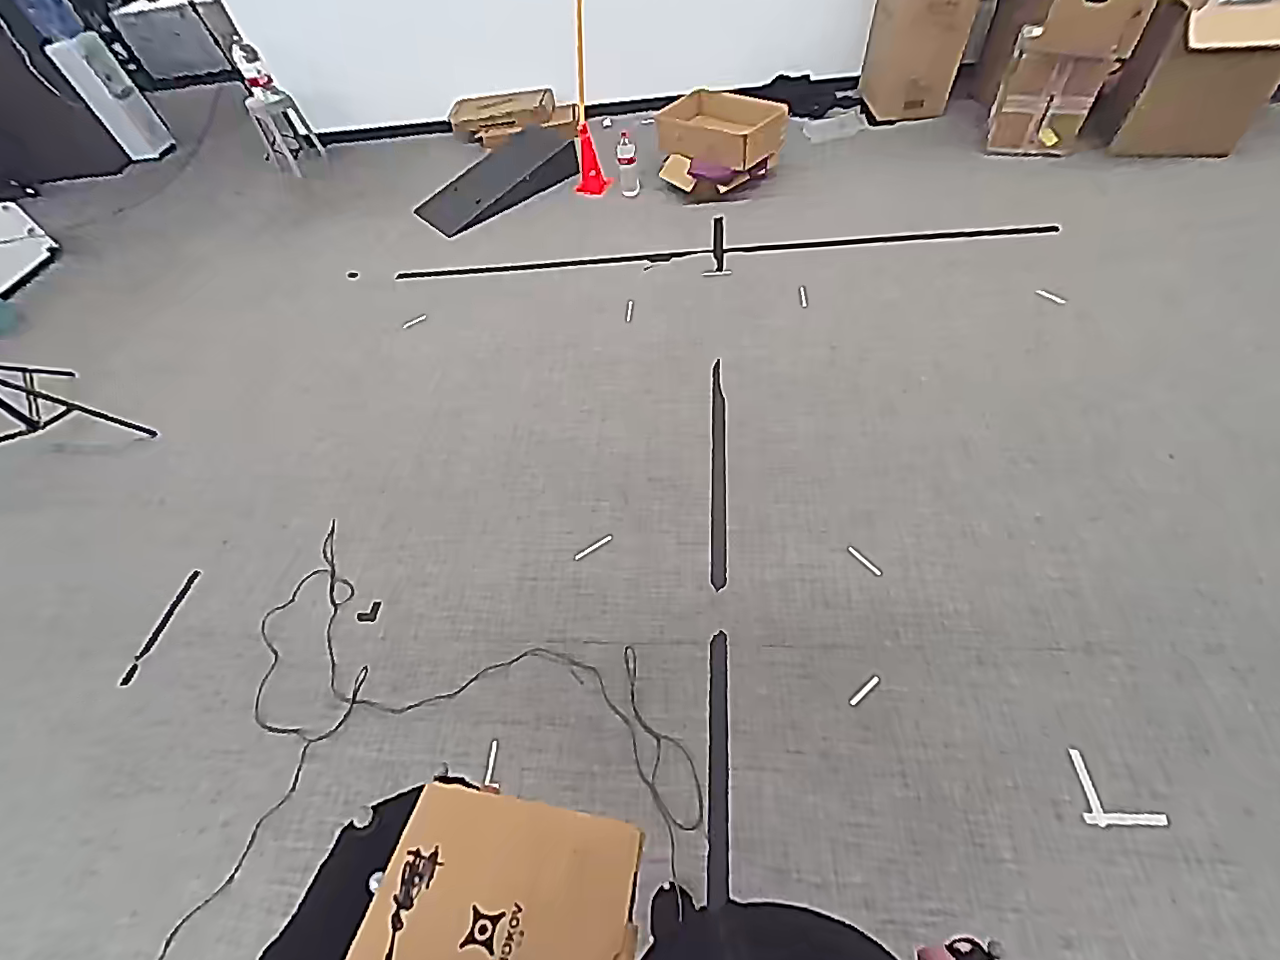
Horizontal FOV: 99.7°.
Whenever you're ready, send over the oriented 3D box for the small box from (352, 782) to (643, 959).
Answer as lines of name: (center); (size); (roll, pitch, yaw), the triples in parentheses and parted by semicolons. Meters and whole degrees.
small box: (-0.104, 0.368, 0.411); (0.179, 0.176, 0.168); (11, 37, 4)
